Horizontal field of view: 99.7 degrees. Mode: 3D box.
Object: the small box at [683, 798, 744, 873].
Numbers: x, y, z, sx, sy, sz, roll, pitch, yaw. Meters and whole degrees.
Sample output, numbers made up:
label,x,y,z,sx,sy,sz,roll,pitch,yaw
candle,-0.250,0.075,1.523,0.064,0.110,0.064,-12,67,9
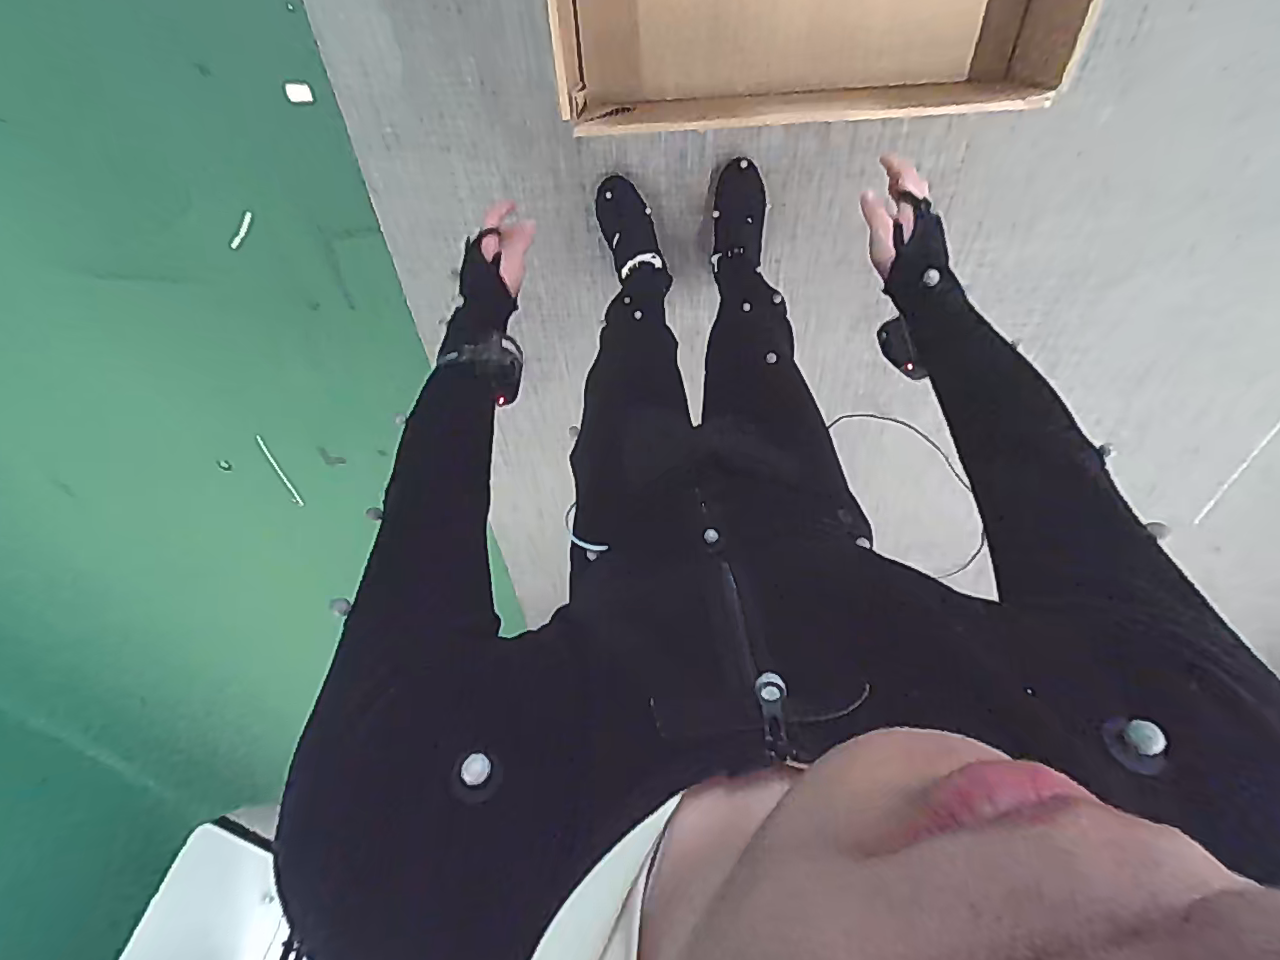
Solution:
label,x,y,z,sx,sy,sz,roll,pitch,yaw
small box,0.235,1.141,1.734,0.168,0.176,0.179,-10,132,9
